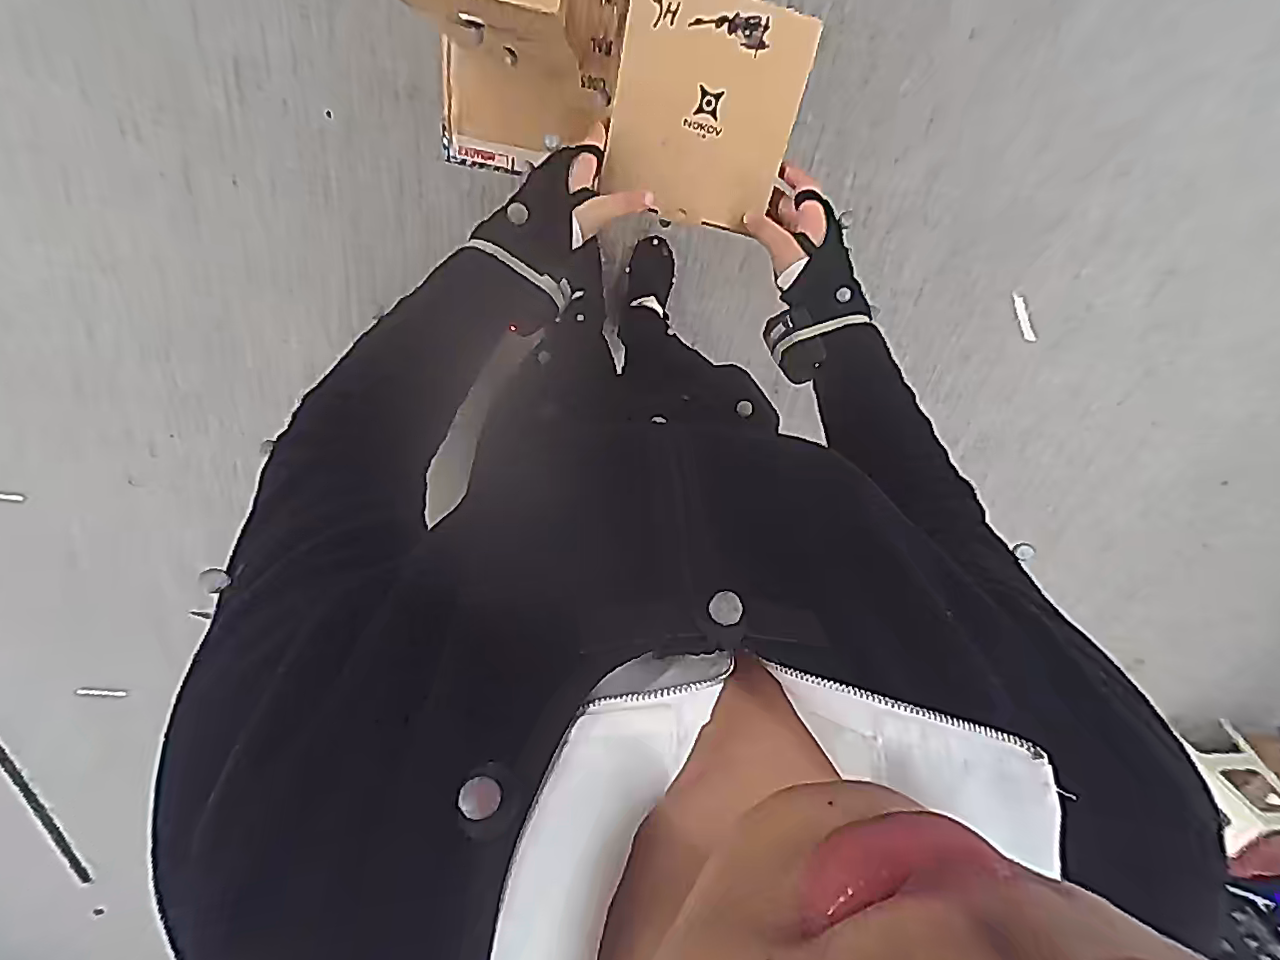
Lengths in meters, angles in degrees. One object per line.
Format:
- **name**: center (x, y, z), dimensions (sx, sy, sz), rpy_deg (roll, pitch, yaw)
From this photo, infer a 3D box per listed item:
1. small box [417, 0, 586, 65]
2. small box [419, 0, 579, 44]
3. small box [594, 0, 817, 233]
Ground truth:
- **small box**: center (-0.142, -0.596, 0.600), dimensions (0.168, 0.176, 0.179), rpy_deg (7, 120, -7)
- **small box**: center (-0.132, -0.511, 0.462), dimensions (0.168, 0.176, 0.179), rpy_deg (8, 121, -7)
- **small box**: center (0.049, -0.376, 0.556), dimensions (0.168, 0.176, 0.179), rpy_deg (9, 120, -11)
